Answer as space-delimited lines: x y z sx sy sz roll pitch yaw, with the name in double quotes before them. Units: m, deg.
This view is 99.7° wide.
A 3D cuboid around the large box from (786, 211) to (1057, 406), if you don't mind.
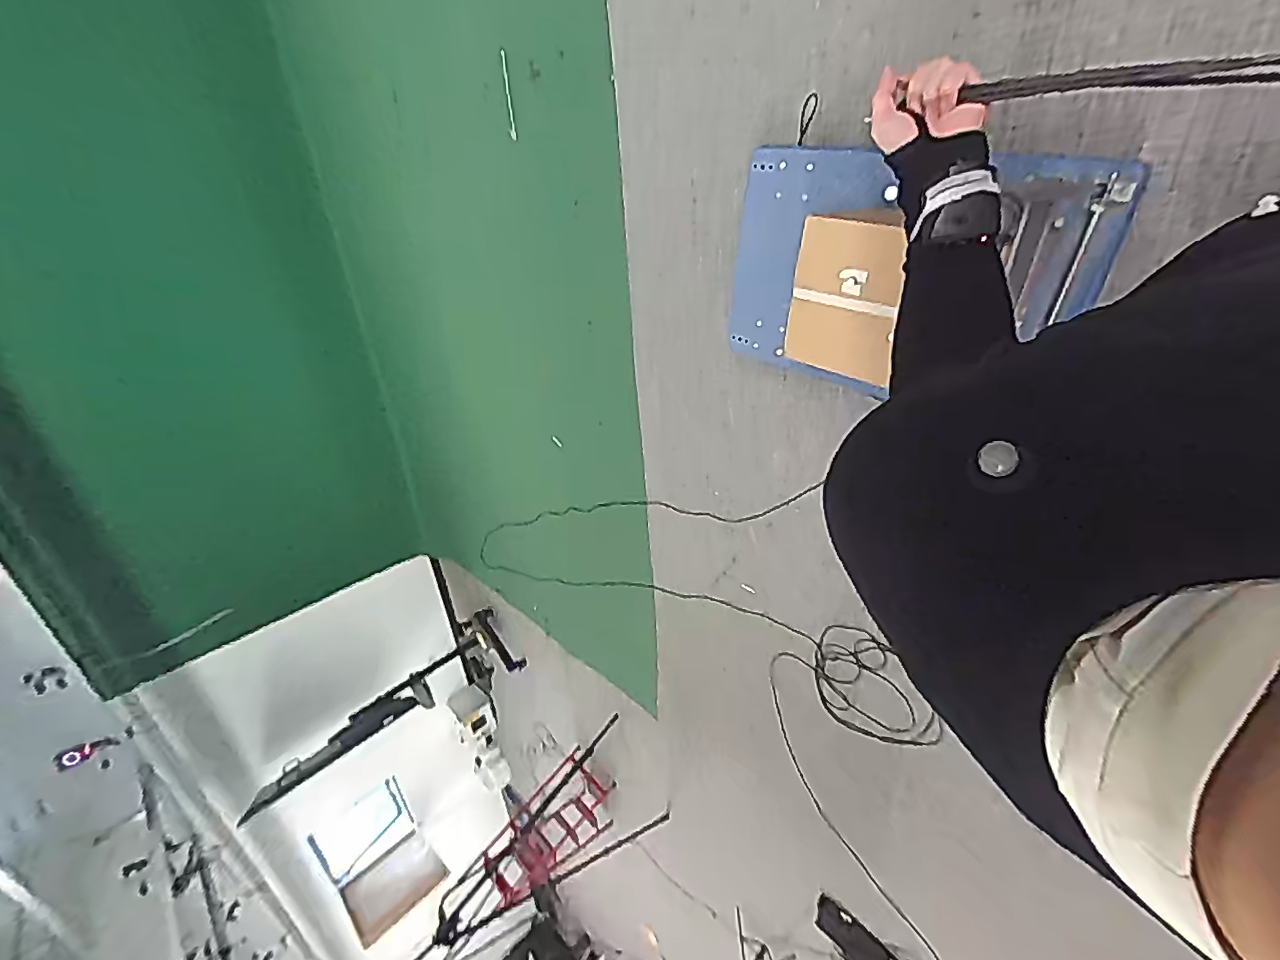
"large box" 0.599 -0.401 1.193 0.408 0.320 0.320 29 130 37
